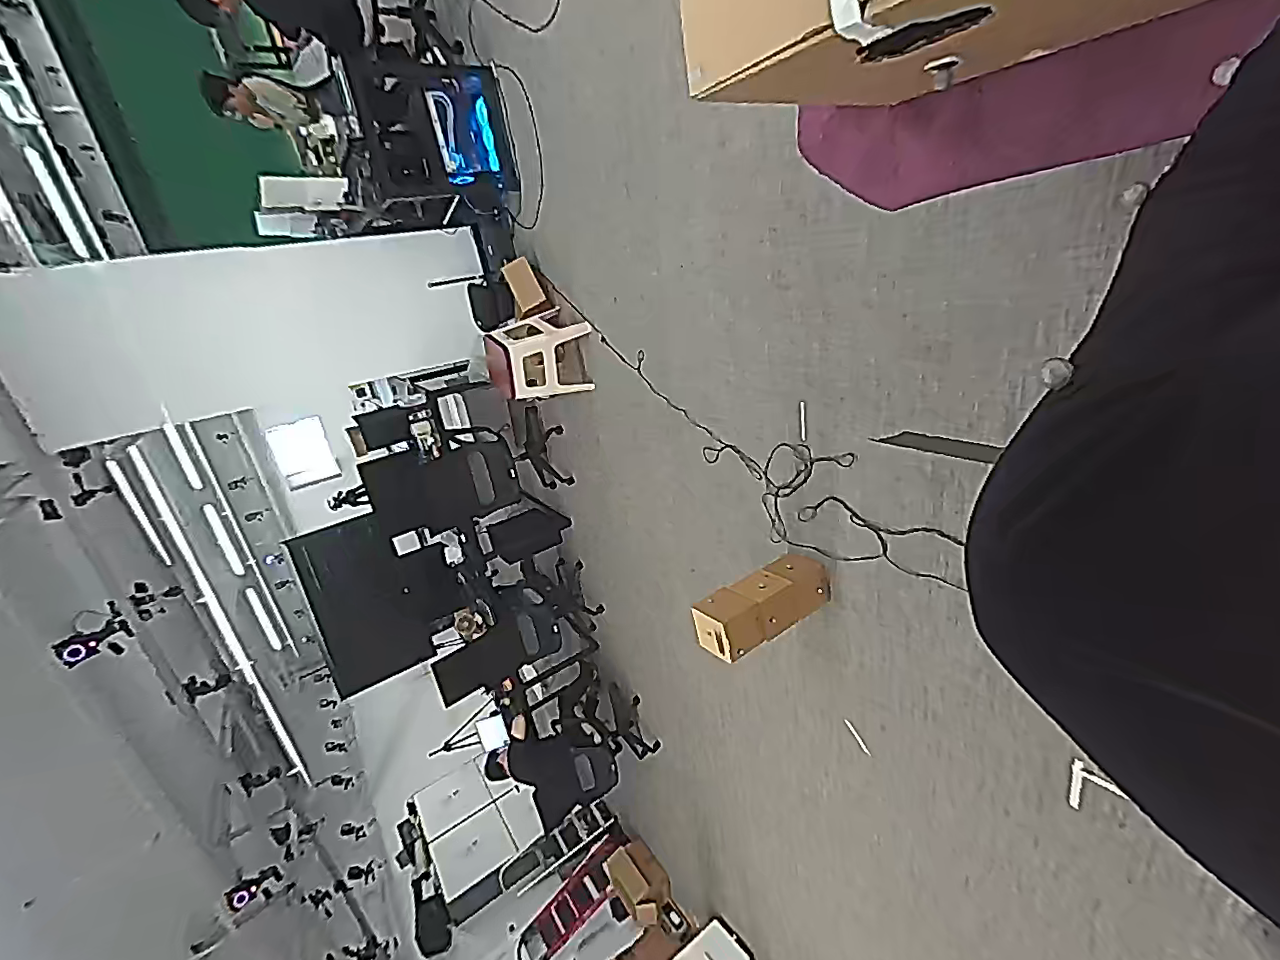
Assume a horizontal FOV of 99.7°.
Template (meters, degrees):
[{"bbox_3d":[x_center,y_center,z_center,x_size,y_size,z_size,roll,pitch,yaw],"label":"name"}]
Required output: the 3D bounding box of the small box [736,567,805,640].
[{"bbox_3d":[0.480,0.444,1.977,0.168,0.176,0.179,16,125,56],"label":"small box"}]

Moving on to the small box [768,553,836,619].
[{"bbox_3d":[0.613,0.393,2.052,0.179,0.176,0.168,13,121,57],"label":"small box"}]
